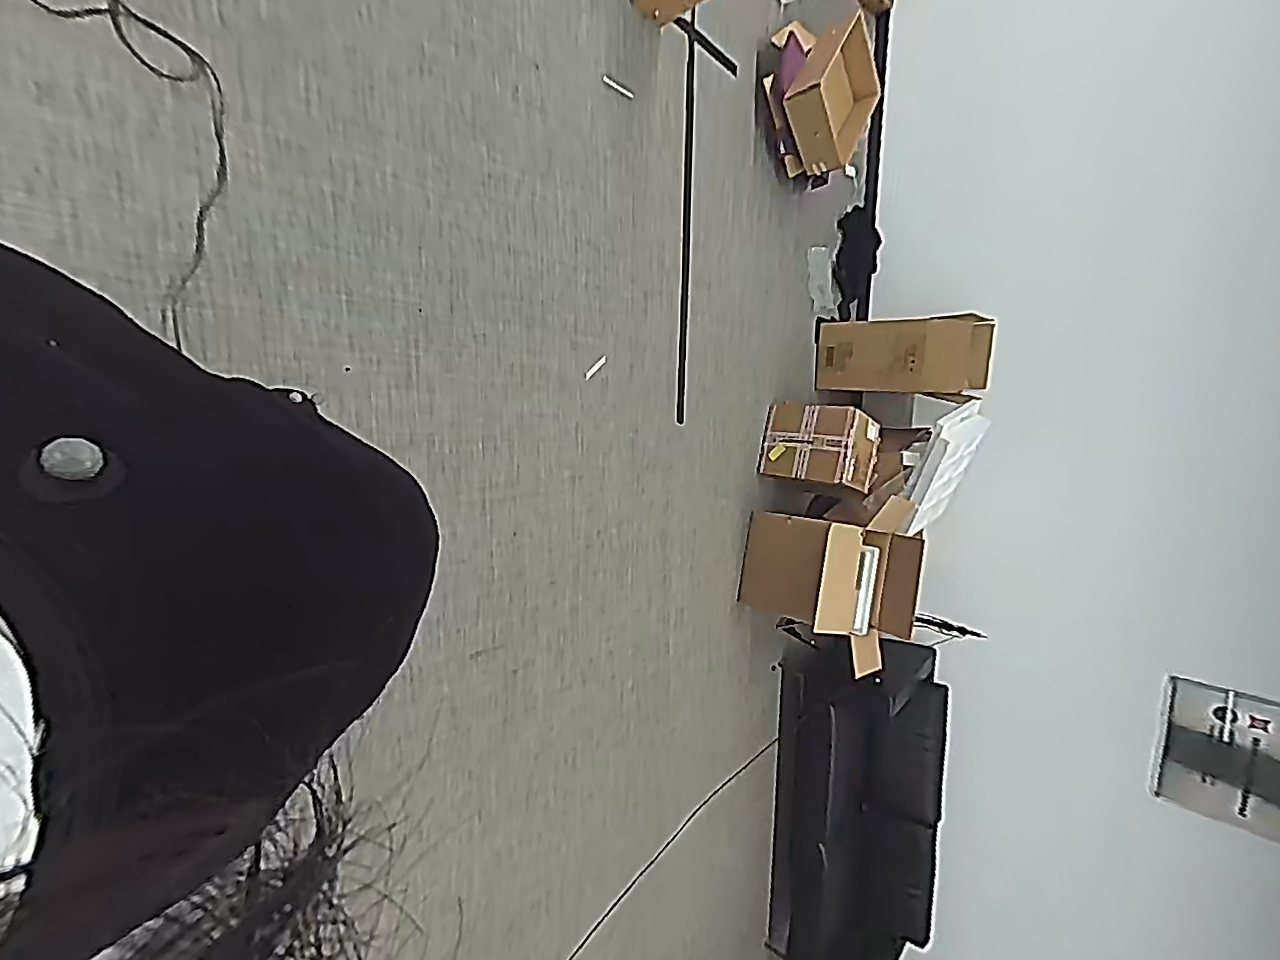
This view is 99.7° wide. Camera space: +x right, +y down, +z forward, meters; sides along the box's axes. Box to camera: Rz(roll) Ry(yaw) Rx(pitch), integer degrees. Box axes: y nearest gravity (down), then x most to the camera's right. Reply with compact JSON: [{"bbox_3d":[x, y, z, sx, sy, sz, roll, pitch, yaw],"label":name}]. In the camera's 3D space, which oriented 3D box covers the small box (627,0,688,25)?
[{"bbox_3d":[0.062,-1.818,1.960,0.168,0.176,0.179,-7,101,-46],"label":"small box"}]
